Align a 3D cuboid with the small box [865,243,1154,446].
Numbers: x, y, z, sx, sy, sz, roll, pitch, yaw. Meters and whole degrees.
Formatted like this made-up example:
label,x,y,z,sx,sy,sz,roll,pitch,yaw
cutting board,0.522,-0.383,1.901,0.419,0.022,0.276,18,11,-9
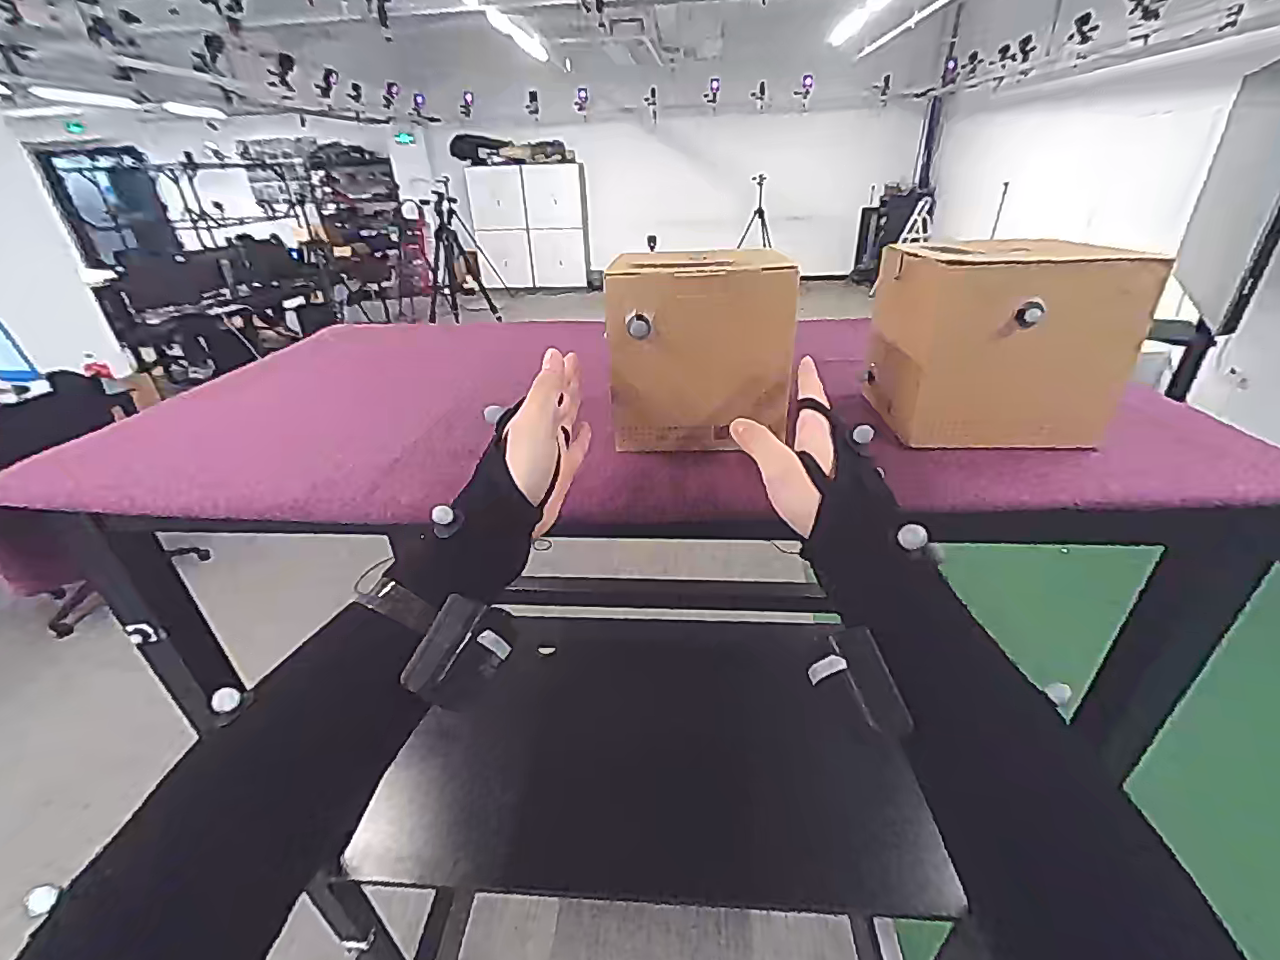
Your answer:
label,x,y,z,sx,sy,sz,roll,pitch,yaw
small box,0.344,-0.141,0.552,0.179,0.176,0.168,1,29,5
